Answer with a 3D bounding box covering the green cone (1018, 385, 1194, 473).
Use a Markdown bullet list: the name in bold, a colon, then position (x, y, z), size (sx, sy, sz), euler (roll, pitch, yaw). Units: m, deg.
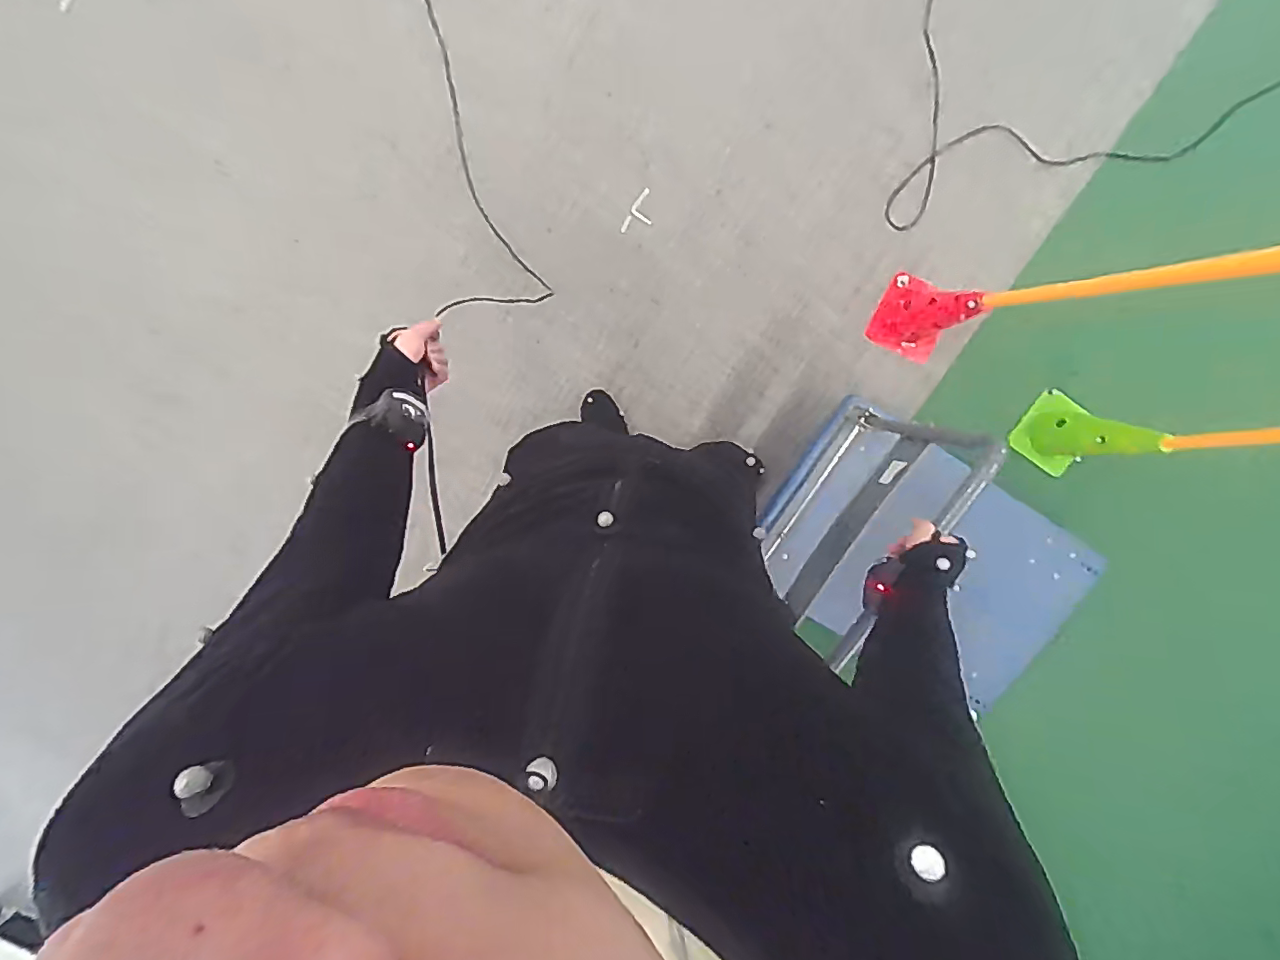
- **green cone**: position (1.211, -0.113, 1.379), size (0.202, 0.368, 0.200), euler (32, 99, -6)
